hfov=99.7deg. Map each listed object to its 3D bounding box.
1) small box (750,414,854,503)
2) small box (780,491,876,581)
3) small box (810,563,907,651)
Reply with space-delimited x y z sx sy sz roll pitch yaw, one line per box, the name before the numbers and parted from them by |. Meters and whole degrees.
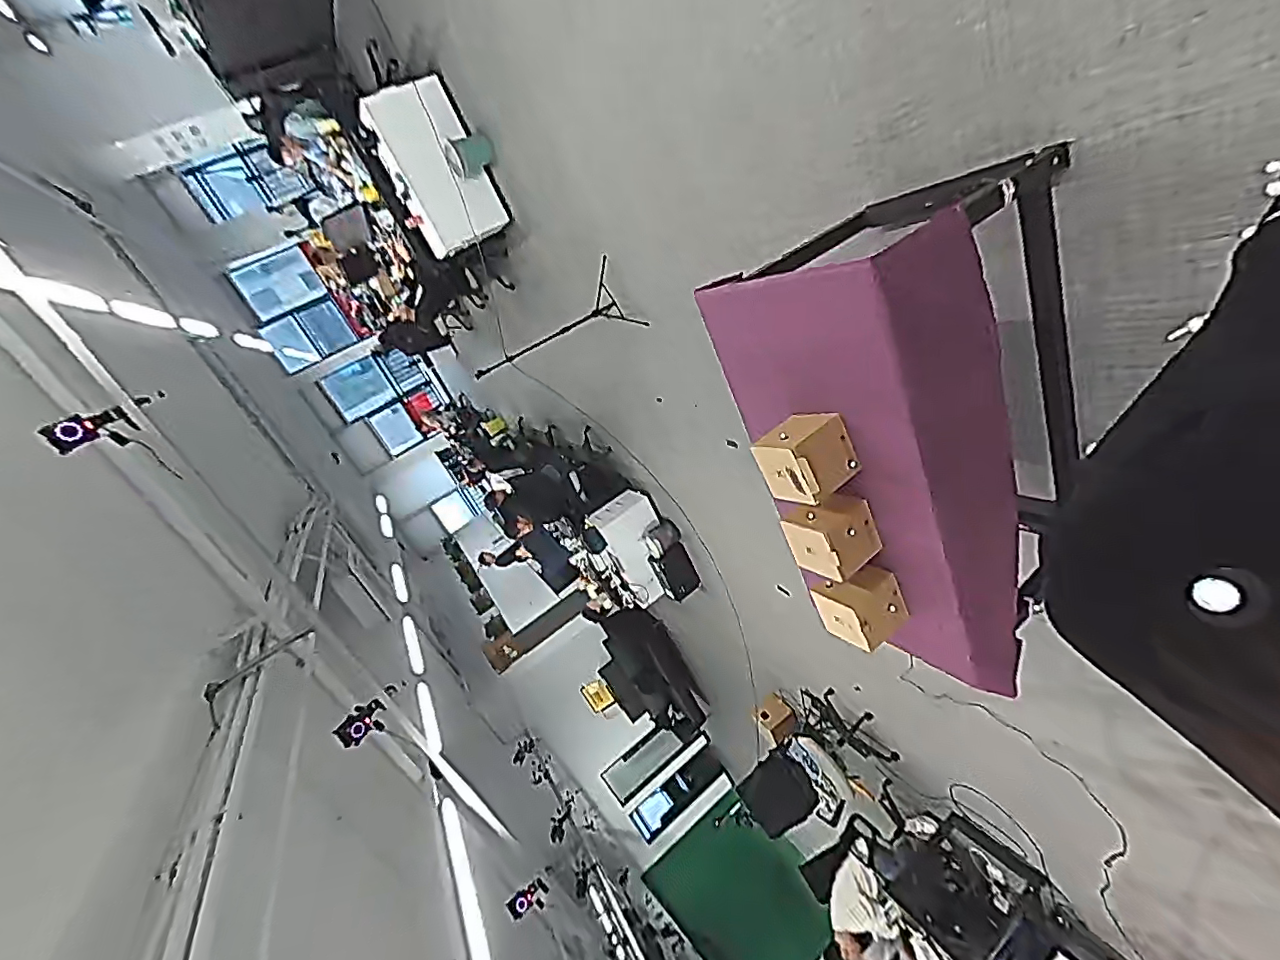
small box | 0.424 -0.062 1.398 0.168 0.176 0.179 61 162 -16
small box | 0.528 0.145 1.500 0.179 0.176 0.168 19 139 62
small box | 0.638 0.356 1.580 0.168 0.176 0.179 61 161 -19
